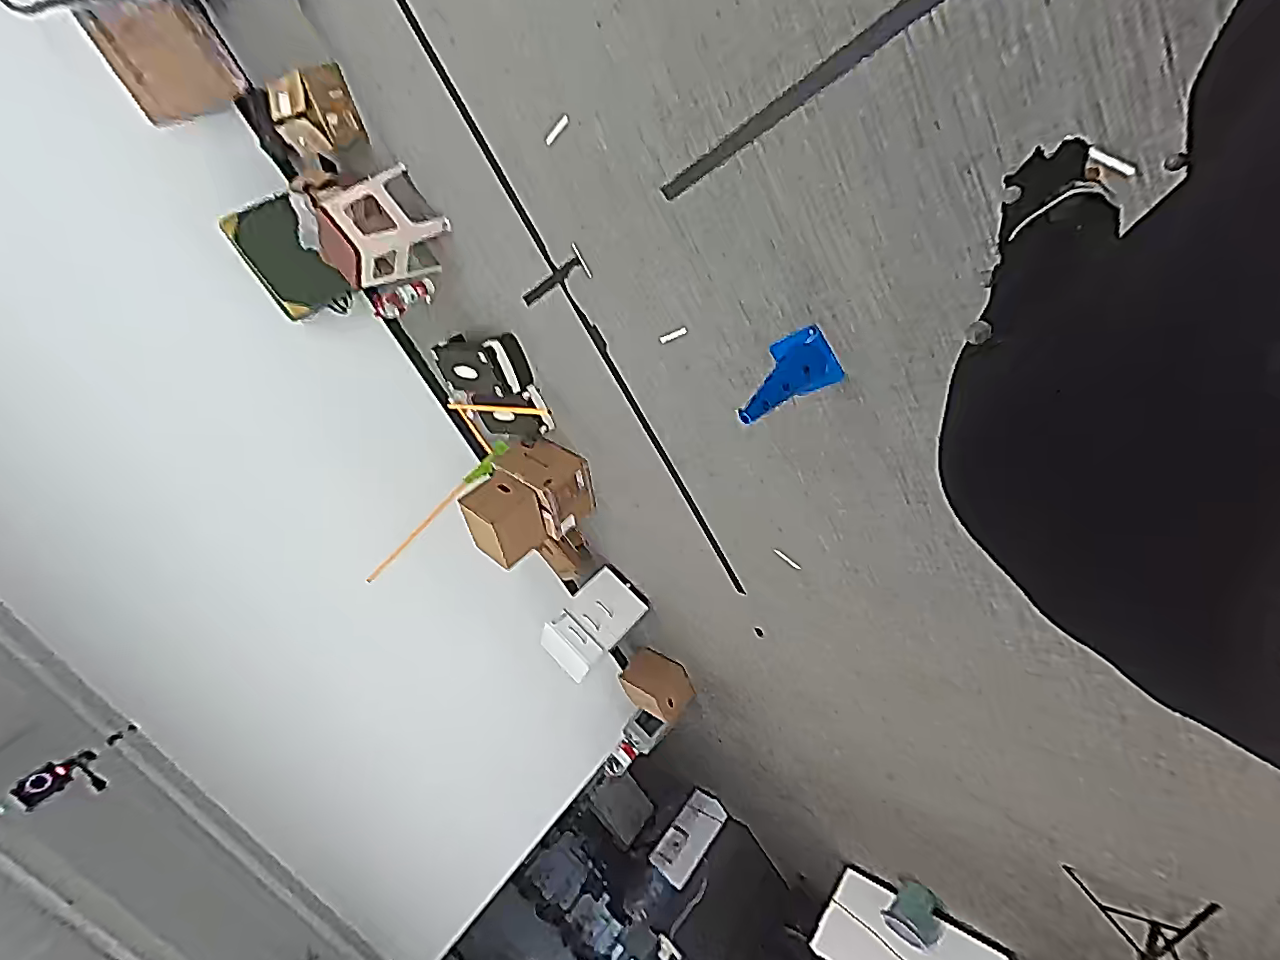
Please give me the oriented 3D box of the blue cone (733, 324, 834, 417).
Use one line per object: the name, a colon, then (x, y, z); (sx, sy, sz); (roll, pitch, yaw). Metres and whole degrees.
blue cone: (0.404, -0.291, 1.632); (0.193, 0.380, 0.192); (-14, 113, 56)
